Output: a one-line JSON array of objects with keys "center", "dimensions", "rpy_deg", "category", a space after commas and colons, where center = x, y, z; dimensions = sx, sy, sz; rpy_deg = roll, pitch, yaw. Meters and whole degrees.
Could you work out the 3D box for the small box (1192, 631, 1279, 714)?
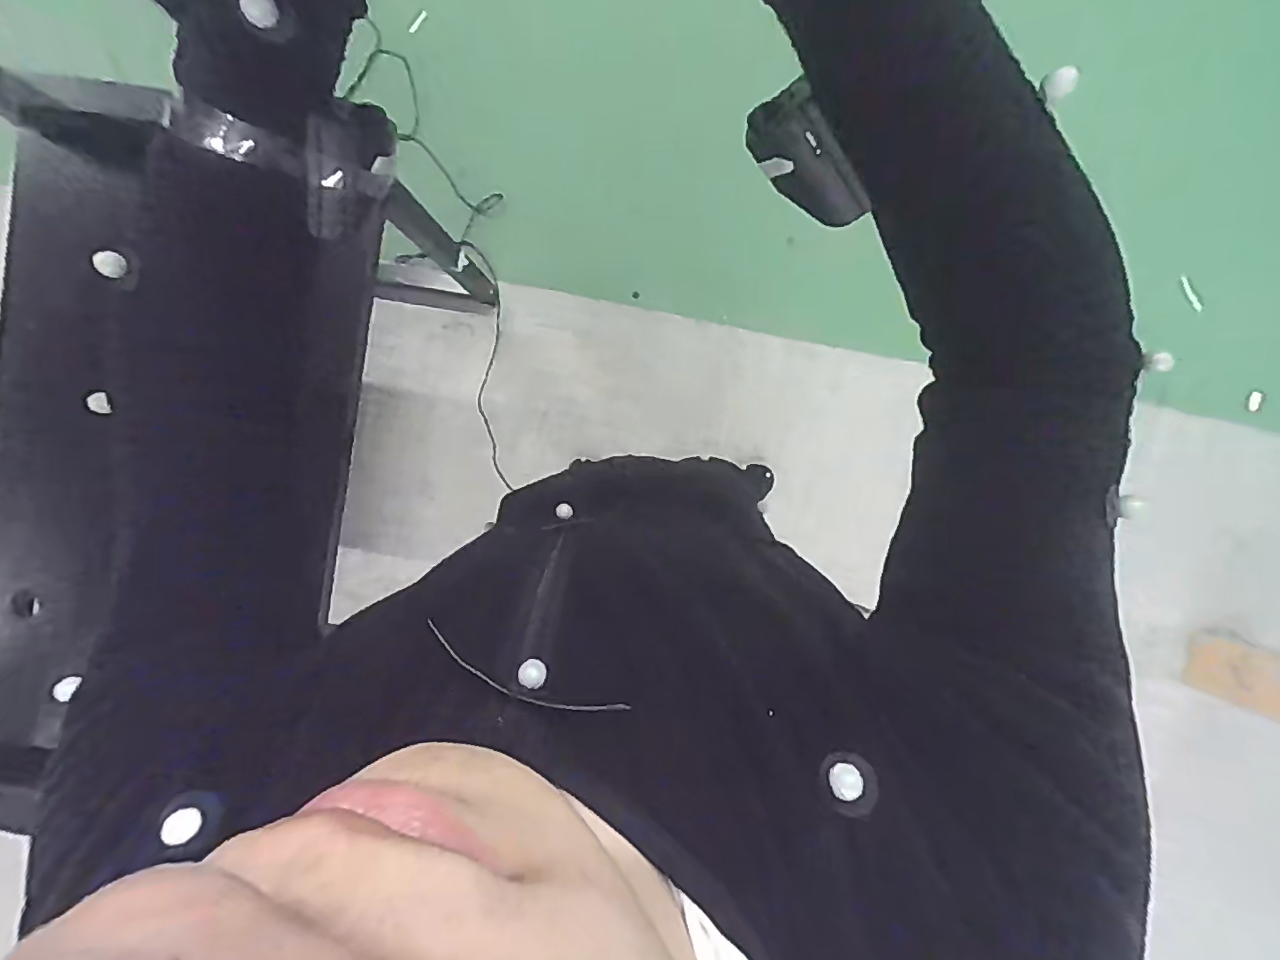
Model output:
[{"center": [1.751, 0.548, 1.546], "dimensions": [0.168, 0.176, 0.179], "rpy_deg": [10, 93, 0], "category": "small box"}]
